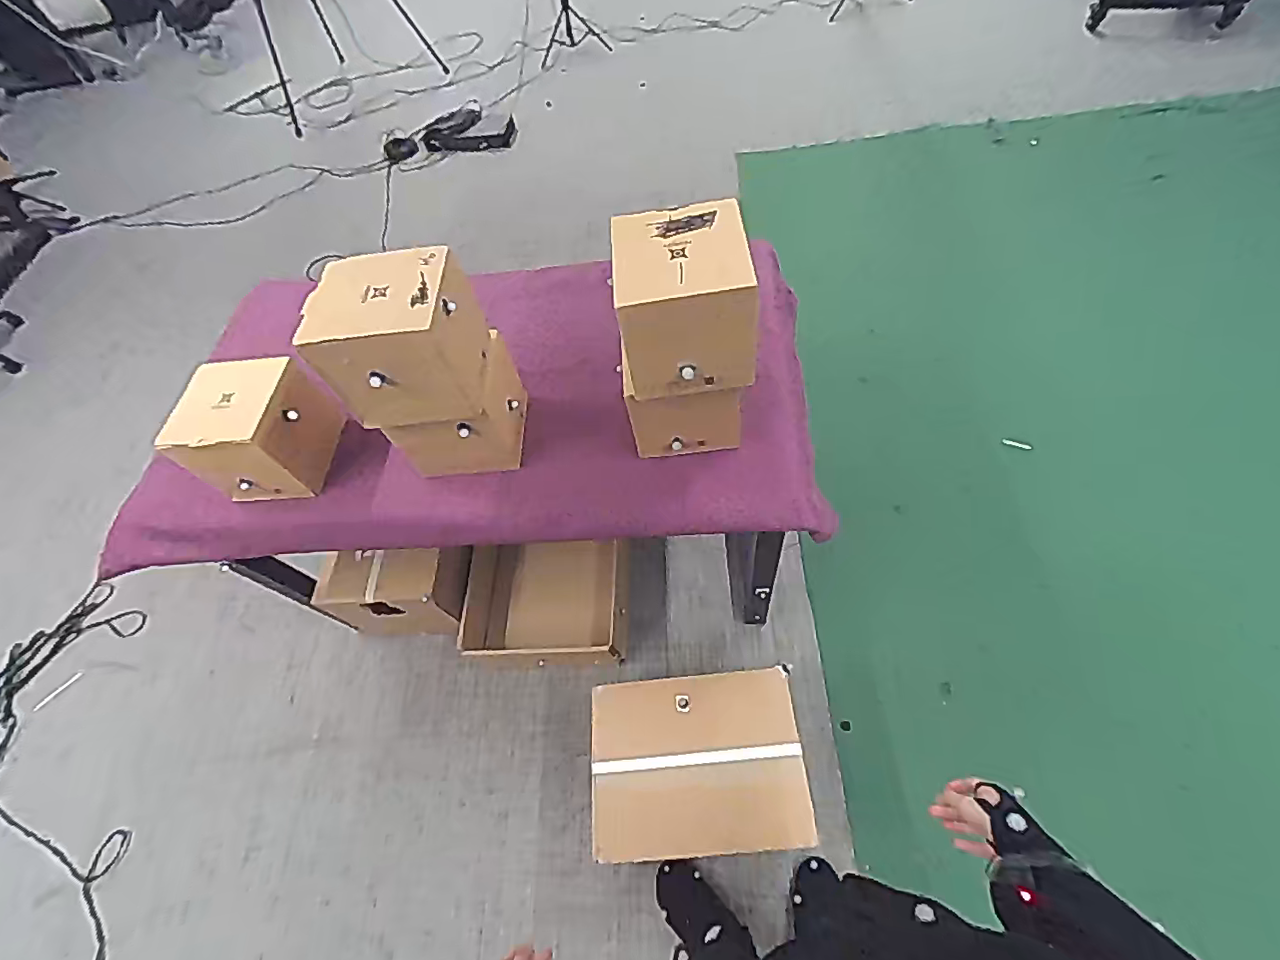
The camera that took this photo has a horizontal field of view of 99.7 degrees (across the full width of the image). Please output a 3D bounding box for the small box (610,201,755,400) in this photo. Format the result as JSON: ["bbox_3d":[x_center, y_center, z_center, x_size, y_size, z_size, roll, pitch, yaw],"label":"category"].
[{"bbox_3d":[0.055,-0.232,0.718,0.168,0.176,0.179,-7,57,6],"label":"small box"}]

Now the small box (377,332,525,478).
[{"bbox_3d":[-0.302,-0.118,0.897,0.179,0.176,0.168,-5,57,6],"label":"small box"}]

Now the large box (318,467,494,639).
[{"bbox_3d":[-0.626,0.209,1.531,0.320,0.320,0.408,-4,59,6],"label":"large box"}]

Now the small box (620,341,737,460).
[{"bbox_3d":[0.062,-0.154,0.864,0.168,0.176,0.179,-7,57,6],"label":"small box"}]

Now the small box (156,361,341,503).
[{"bbox_3d":[-0.650,-0.079,0.929,0.168,0.176,0.179,-4,58,6],"label":"small box"}]

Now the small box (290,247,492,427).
[{"bbox_3d":[-0.327,-0.189,0.750,0.179,0.176,0.168,-6,58,6],"label":"small box"}]
